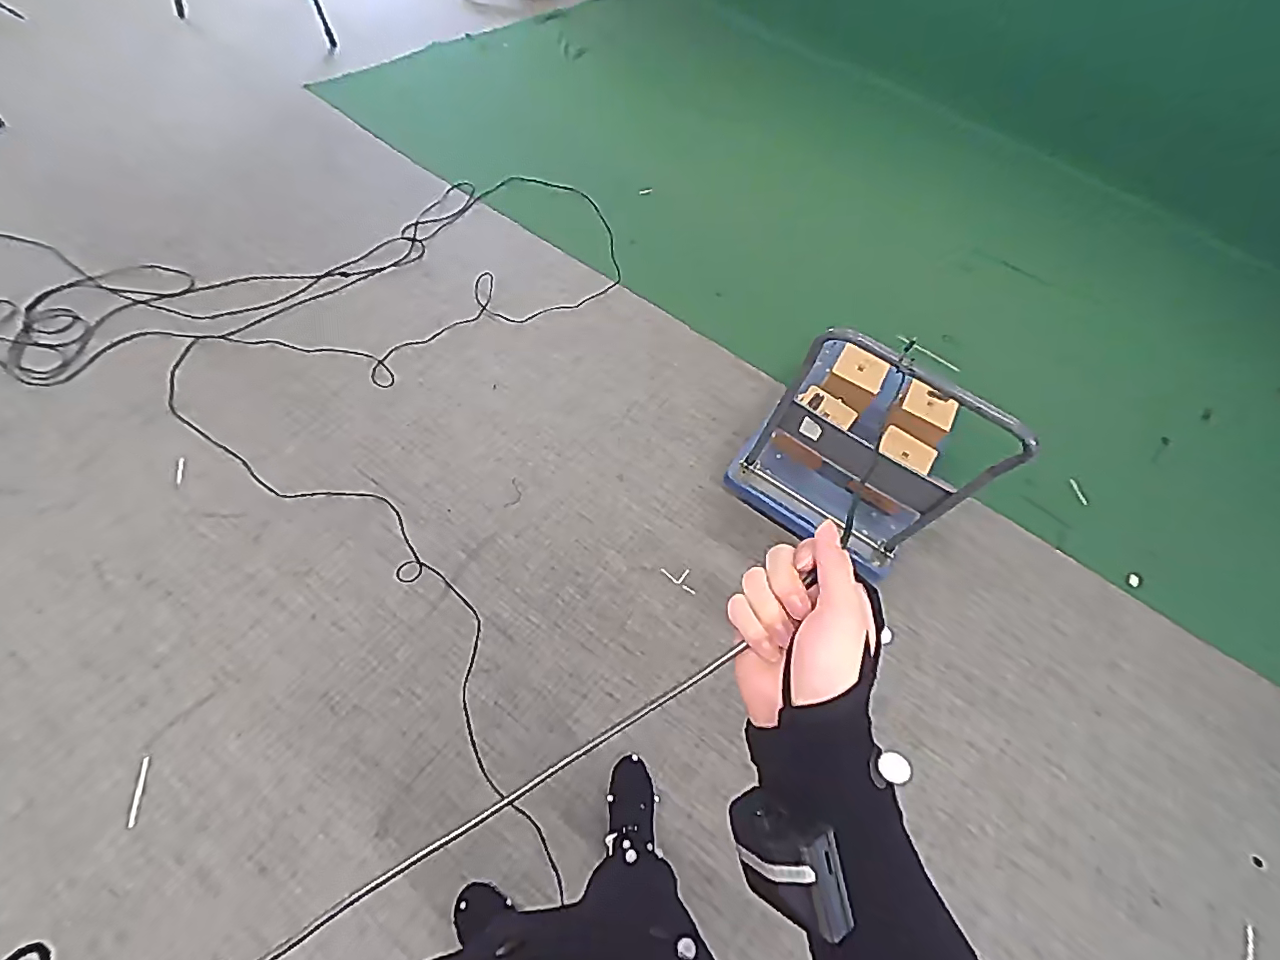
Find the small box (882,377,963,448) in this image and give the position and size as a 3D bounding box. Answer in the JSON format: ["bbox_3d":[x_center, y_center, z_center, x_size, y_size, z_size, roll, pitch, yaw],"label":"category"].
[{"bbox_3d":[0.958,-0.212,1.845,0.168,0.176,0.179,30,60,11],"label":"small box"}]

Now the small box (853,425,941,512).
[{"bbox_3d":[0.806,-0.033,1.712,0.168,0.176,0.179,34,61,12],"label":"small box"}]

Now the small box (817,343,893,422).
[{"bbox_3d":[0.743,-0.335,1.888,0.168,0.176,0.179,31,59,9],"label":"small box"}]
